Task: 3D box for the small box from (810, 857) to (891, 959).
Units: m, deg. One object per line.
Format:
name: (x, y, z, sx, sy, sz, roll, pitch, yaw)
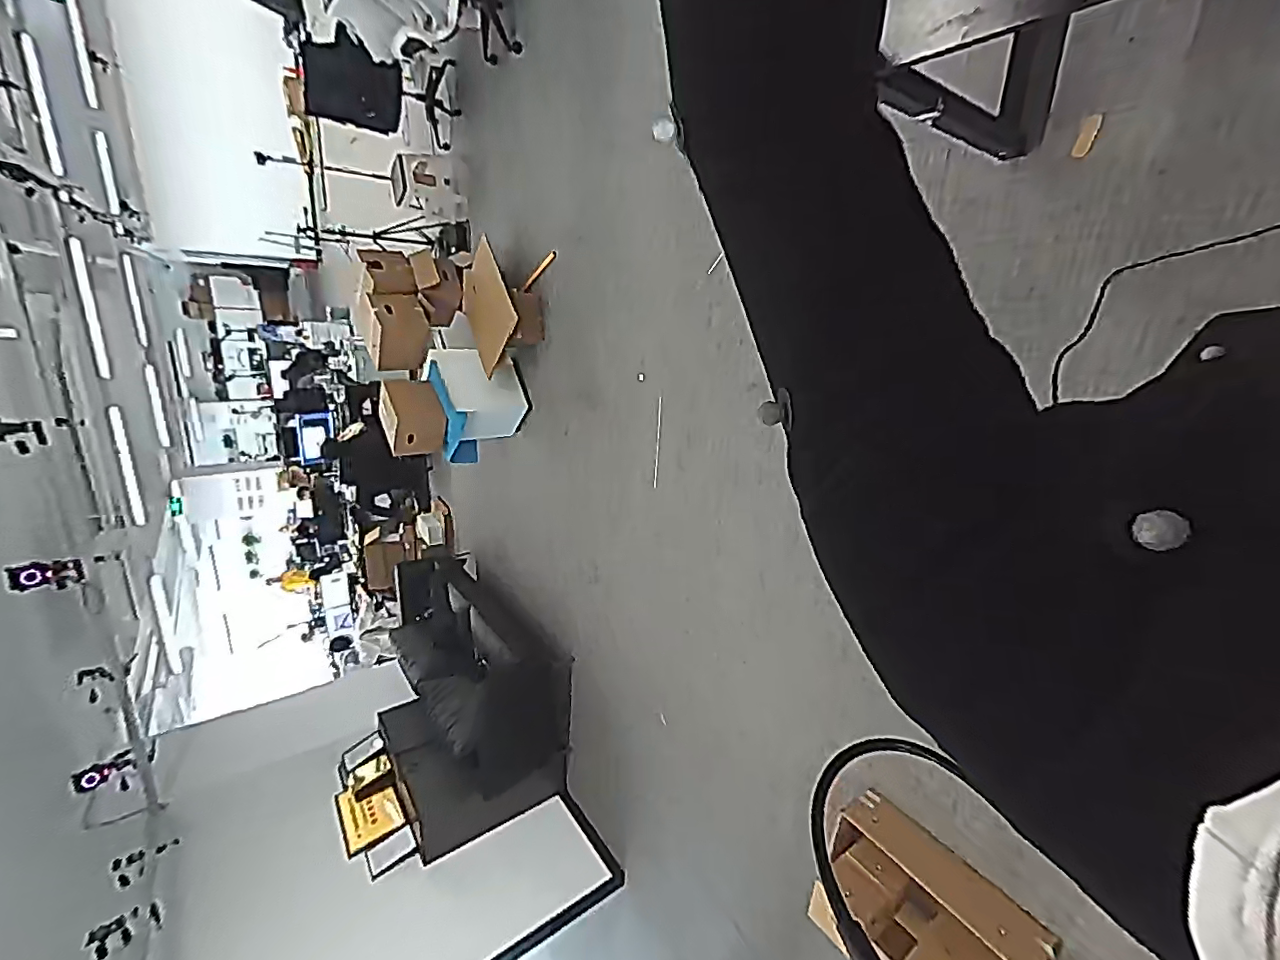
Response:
small box: (0.689, 1.393, 1.767, 0.179, 0.176, 0.168, 26, 117, 49)
